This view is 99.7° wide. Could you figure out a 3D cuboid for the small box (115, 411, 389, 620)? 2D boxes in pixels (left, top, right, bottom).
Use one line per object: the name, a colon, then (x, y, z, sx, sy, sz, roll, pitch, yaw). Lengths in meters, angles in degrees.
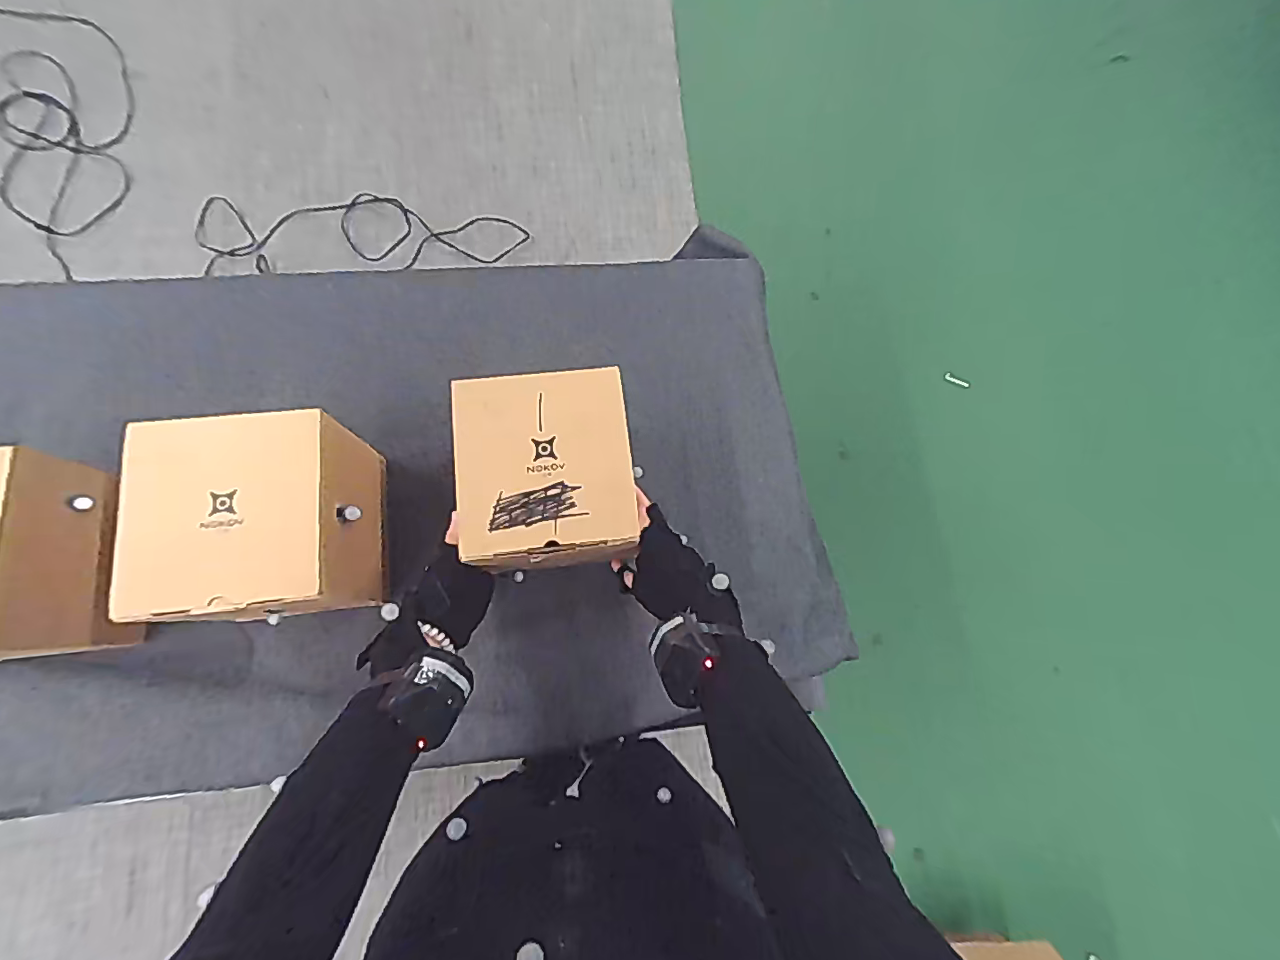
small box: (-0.369, 0.044, 0.550, 0.168, 0.176, 0.179, -6, 78, -8)
